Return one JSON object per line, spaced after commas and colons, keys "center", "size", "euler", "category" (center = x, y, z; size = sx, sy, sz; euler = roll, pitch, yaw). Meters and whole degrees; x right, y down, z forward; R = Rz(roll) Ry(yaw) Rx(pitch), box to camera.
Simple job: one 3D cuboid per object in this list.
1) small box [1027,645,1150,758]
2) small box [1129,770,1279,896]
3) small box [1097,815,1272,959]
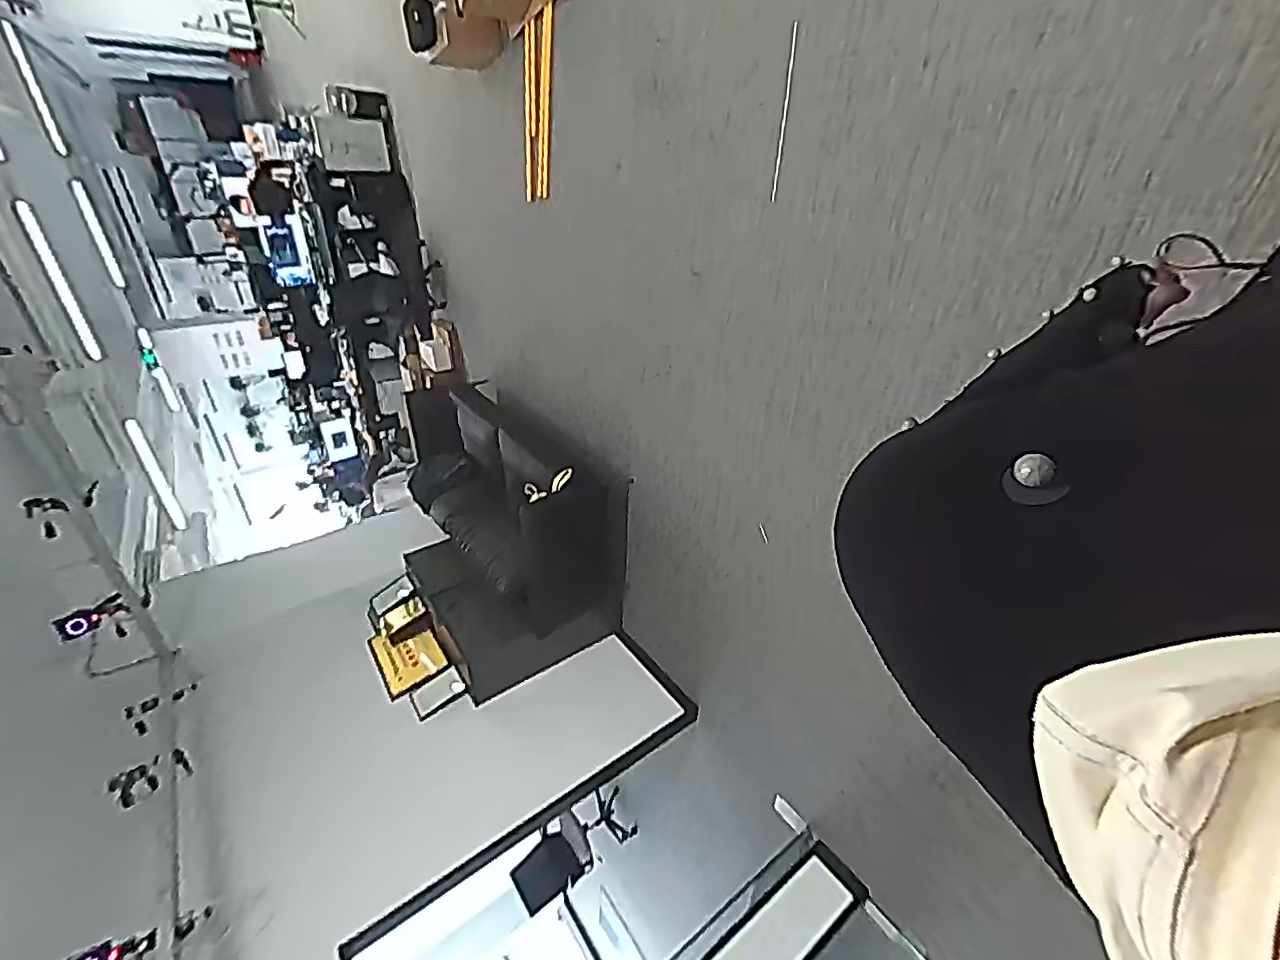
{"center": [1.158, 0.566, 1.395], "size": [0.168, 0.176, 0.179], "euler": [39, 136, 39], "category": "small box"}
{"center": [1.195, 0.757, 1.131], "size": [0.168, 0.176, 0.179], "euler": [41, 139, 40], "category": "small box"}
{"center": [1.059, 0.807, 1.054], "size": [0.168, 0.176, 0.179], "euler": [41, 139, 40], "category": "small box"}
